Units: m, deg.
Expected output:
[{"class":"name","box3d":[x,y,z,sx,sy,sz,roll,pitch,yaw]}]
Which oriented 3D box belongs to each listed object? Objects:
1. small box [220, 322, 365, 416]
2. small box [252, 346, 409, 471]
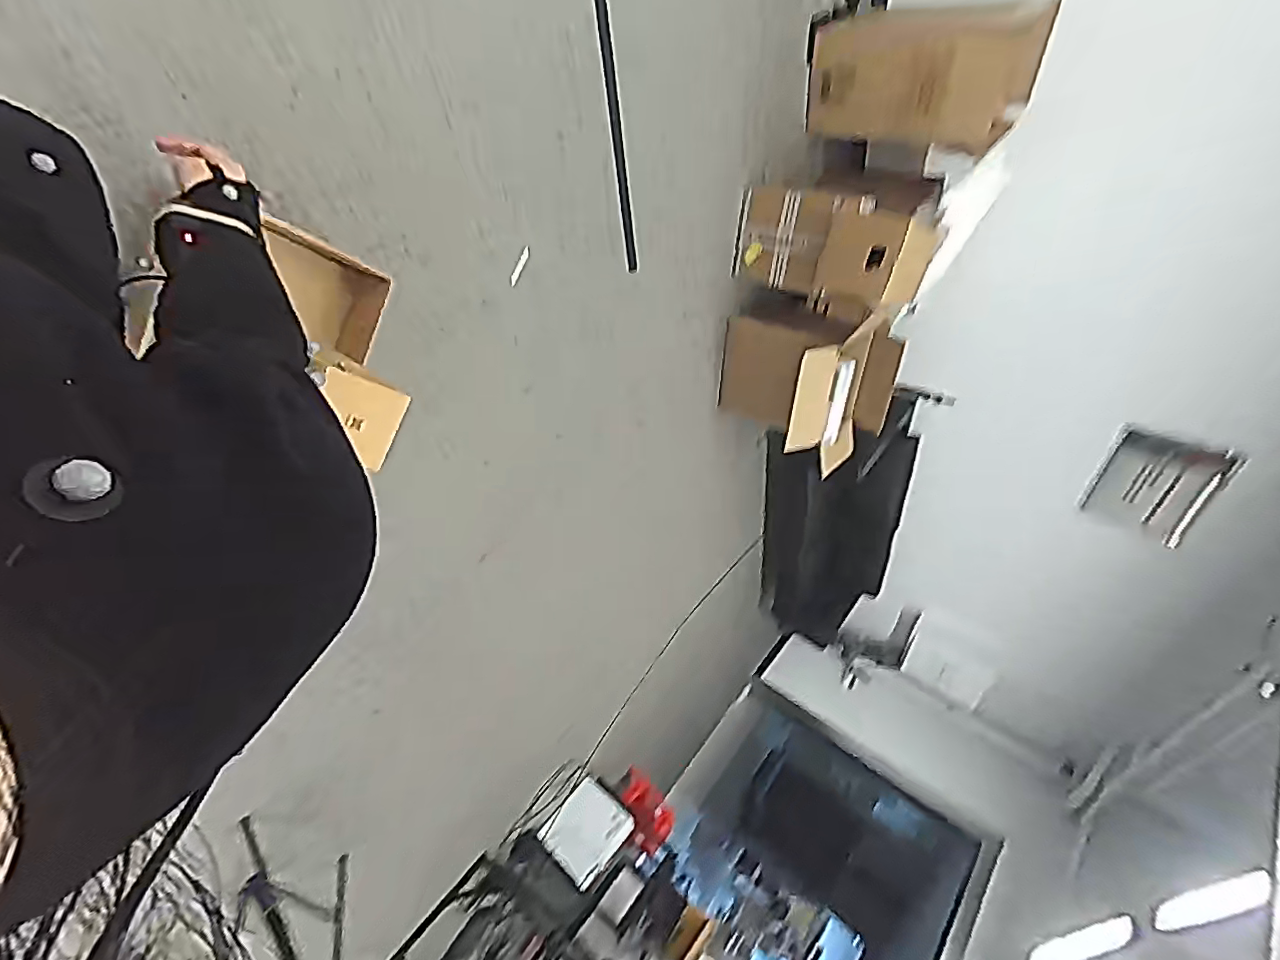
[{"class":"small box","box3d":[-0.718,-0.207,1.113,0.179,0.176,0.168,23,94,-58]},{"class":"small box","box3d":[-0.592,-0.137,1.037,0.179,0.176,0.168,20,96,-59]}]
